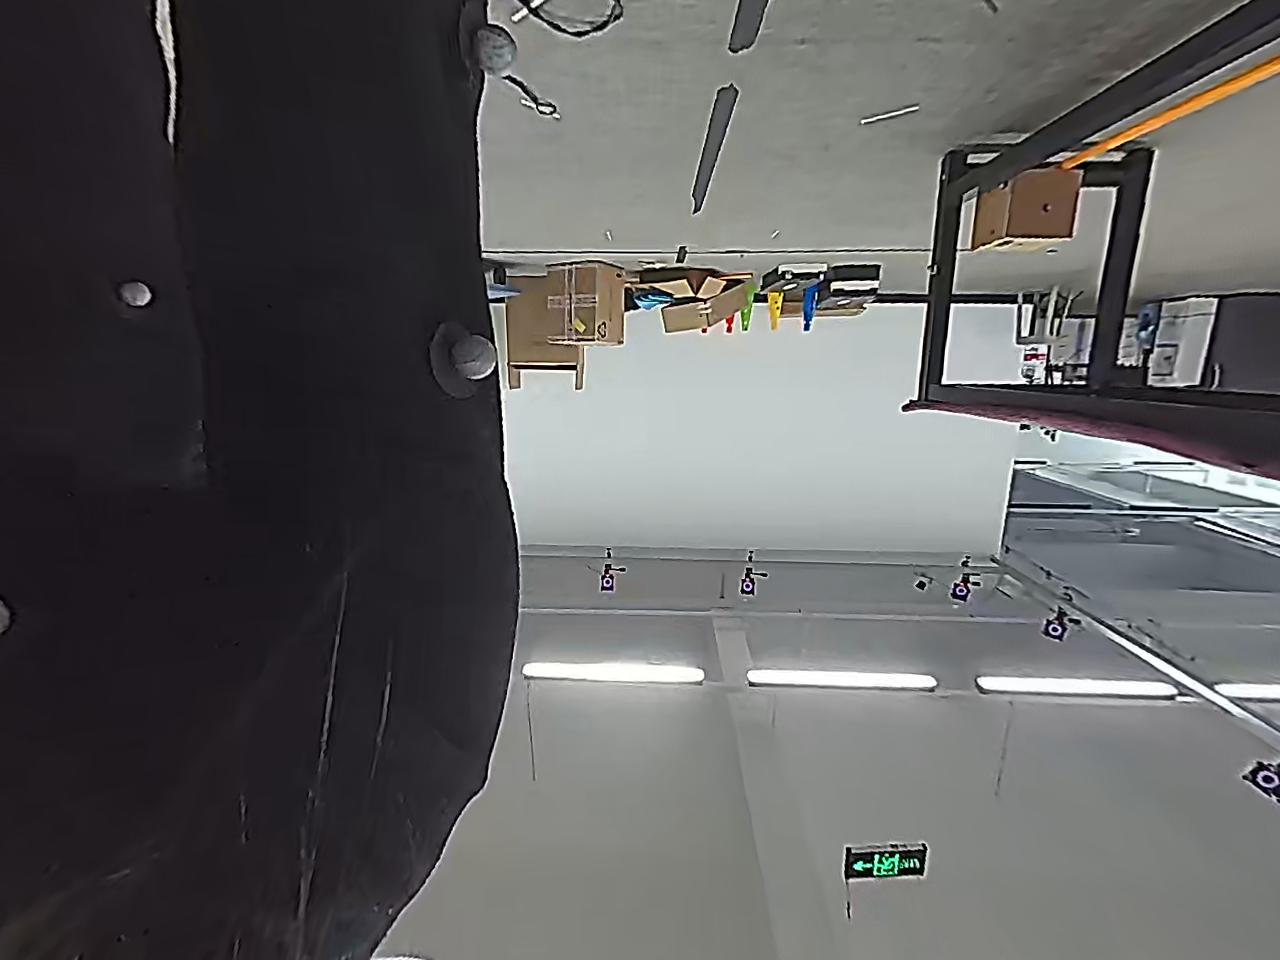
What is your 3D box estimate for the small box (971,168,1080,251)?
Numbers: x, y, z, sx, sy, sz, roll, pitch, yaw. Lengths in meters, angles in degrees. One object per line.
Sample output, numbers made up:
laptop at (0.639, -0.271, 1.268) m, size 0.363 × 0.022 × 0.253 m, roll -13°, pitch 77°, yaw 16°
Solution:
small box at (1.042, -0.731, 1.469) m, size 0.179 × 0.176 × 0.168 m, roll 0°, pitch -168°, yaw 1°
